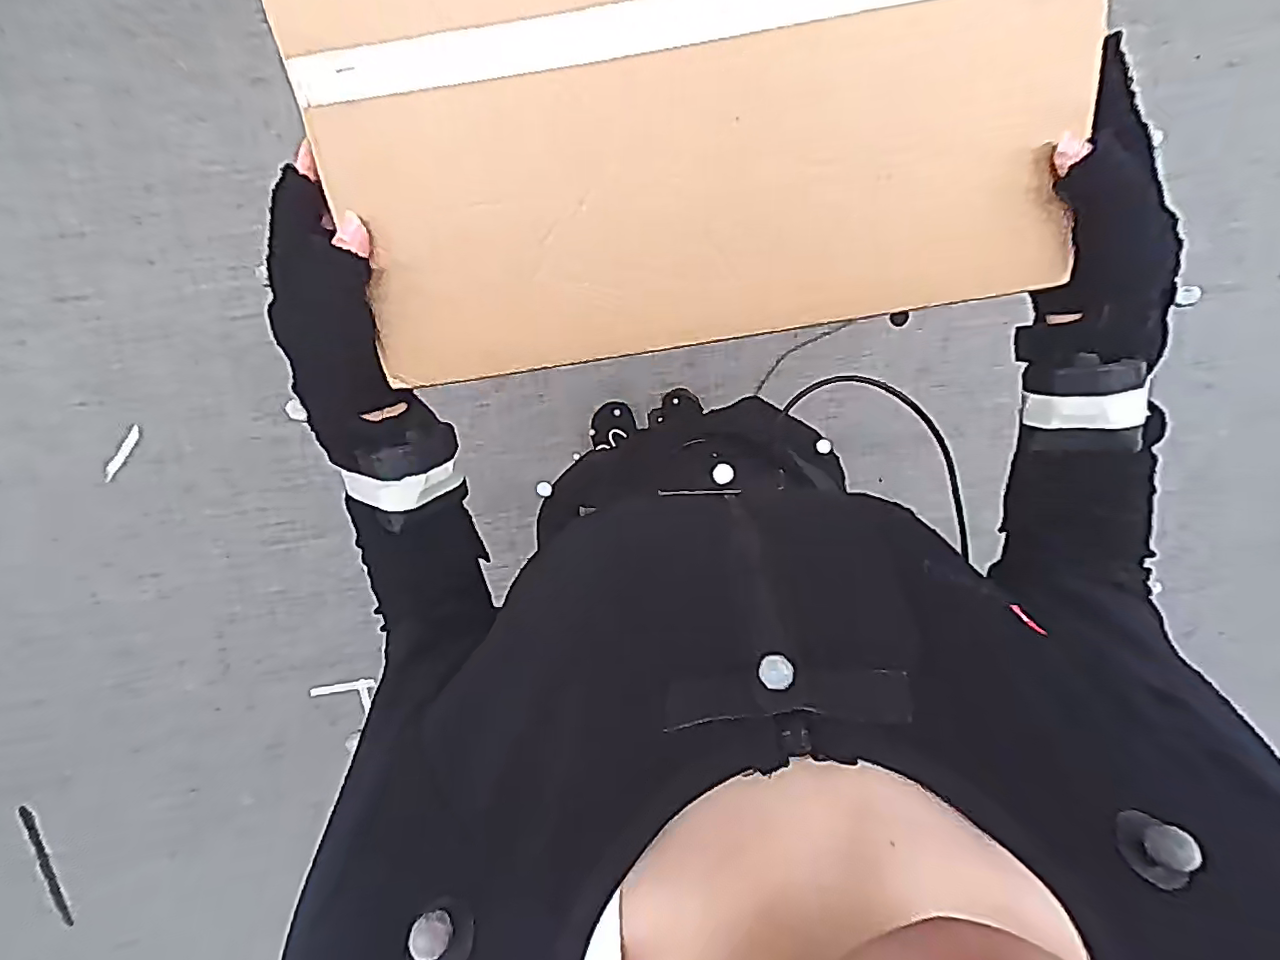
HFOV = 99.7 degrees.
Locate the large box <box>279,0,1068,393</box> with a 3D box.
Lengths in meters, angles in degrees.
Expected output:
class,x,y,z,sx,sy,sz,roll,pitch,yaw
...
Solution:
class,x,y,z,sx,sy,sz,roll,pitch,yaw
large box,0.020,-0.281,0.416,0.408,0.320,0.320,-9,110,1
